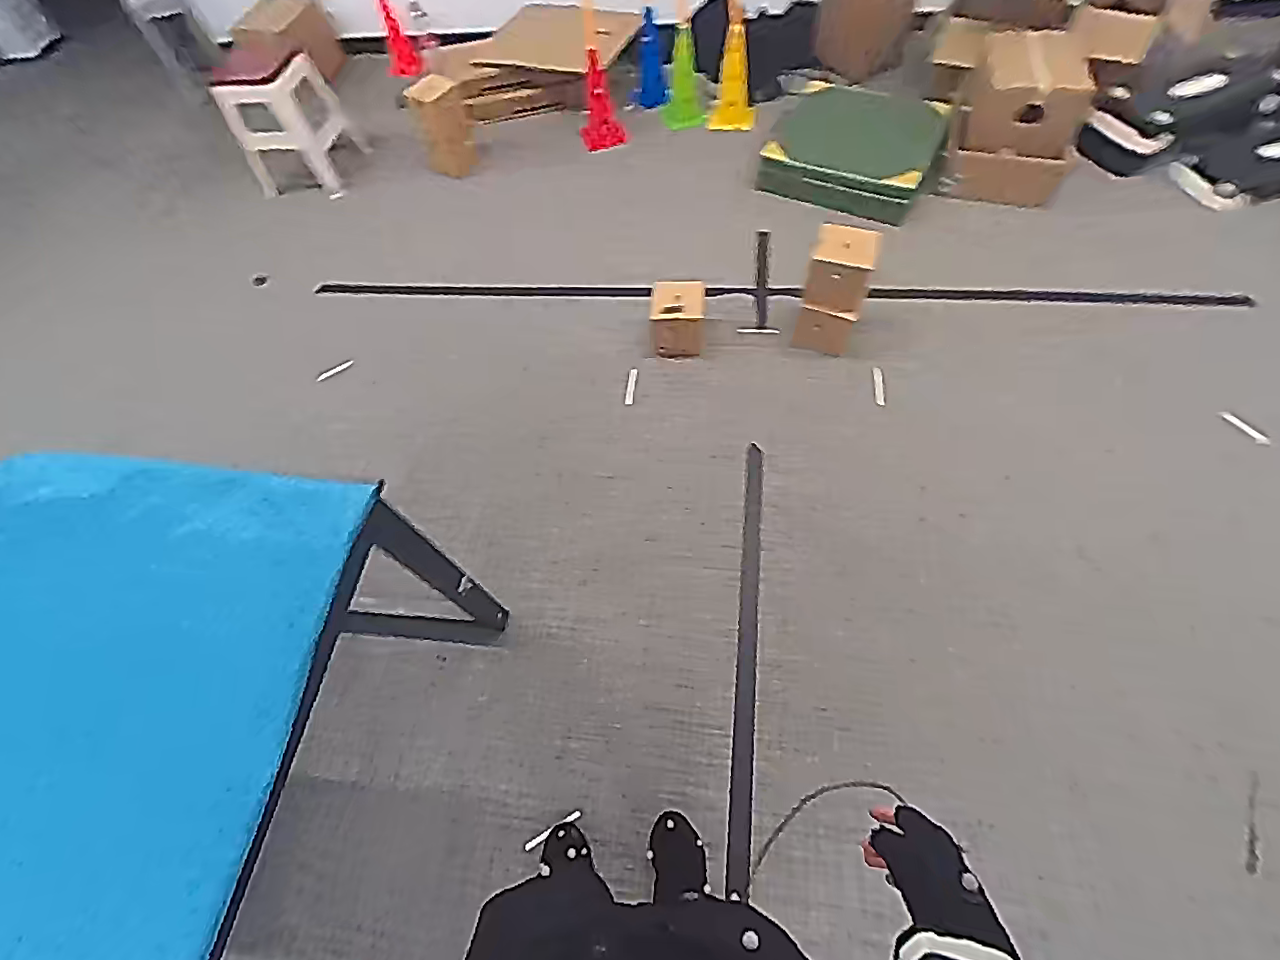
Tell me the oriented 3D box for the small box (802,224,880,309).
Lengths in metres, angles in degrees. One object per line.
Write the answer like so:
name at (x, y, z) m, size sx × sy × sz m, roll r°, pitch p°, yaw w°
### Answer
small box at (0.611, -0.651, 1.661) m, size 0.179 × 0.176 × 0.168 m, roll 17°, pitch 64°, yaw 13°

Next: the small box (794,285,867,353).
small box at (0.624, -0.547, 1.791) m, size 0.179 × 0.176 × 0.168 m, roll 19°, pitch 64°, yaw 14°

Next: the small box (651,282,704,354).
small box at (0.132, -0.546, 1.836) m, size 0.168 × 0.176 × 0.179 m, roll 2°, pitch 60°, yaw 7°
